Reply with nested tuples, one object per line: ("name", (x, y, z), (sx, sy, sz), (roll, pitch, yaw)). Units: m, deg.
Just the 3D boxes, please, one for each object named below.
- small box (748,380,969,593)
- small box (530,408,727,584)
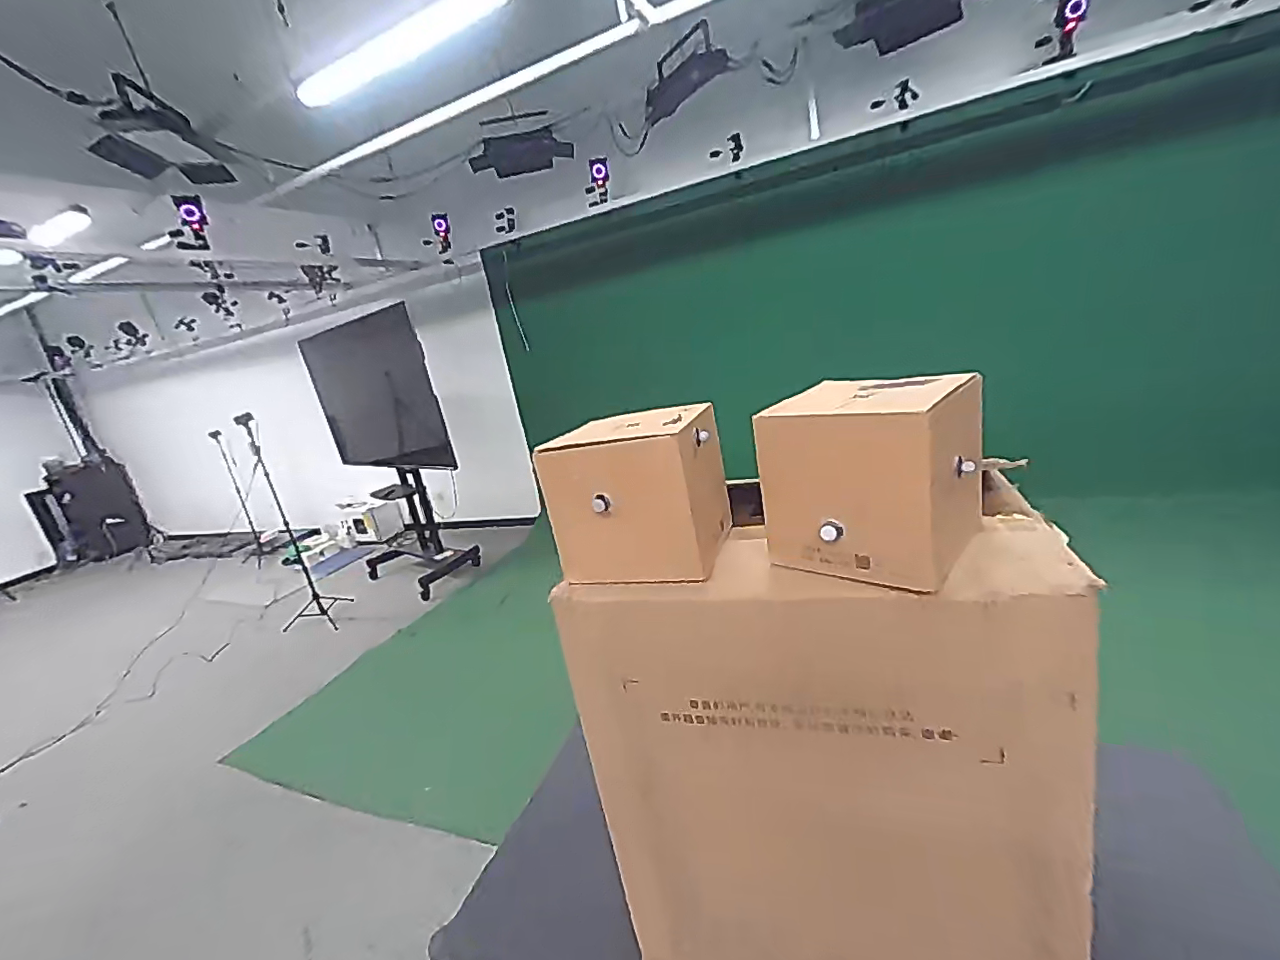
("small box", (0.236, -0.004, 0.576), (0.168, 0.176, 0.179), (4, 22, 44))
("small box", (-0.004, 0.020, 0.672), (0.179, 0.176, 0.168), (-7, 16, 22))
